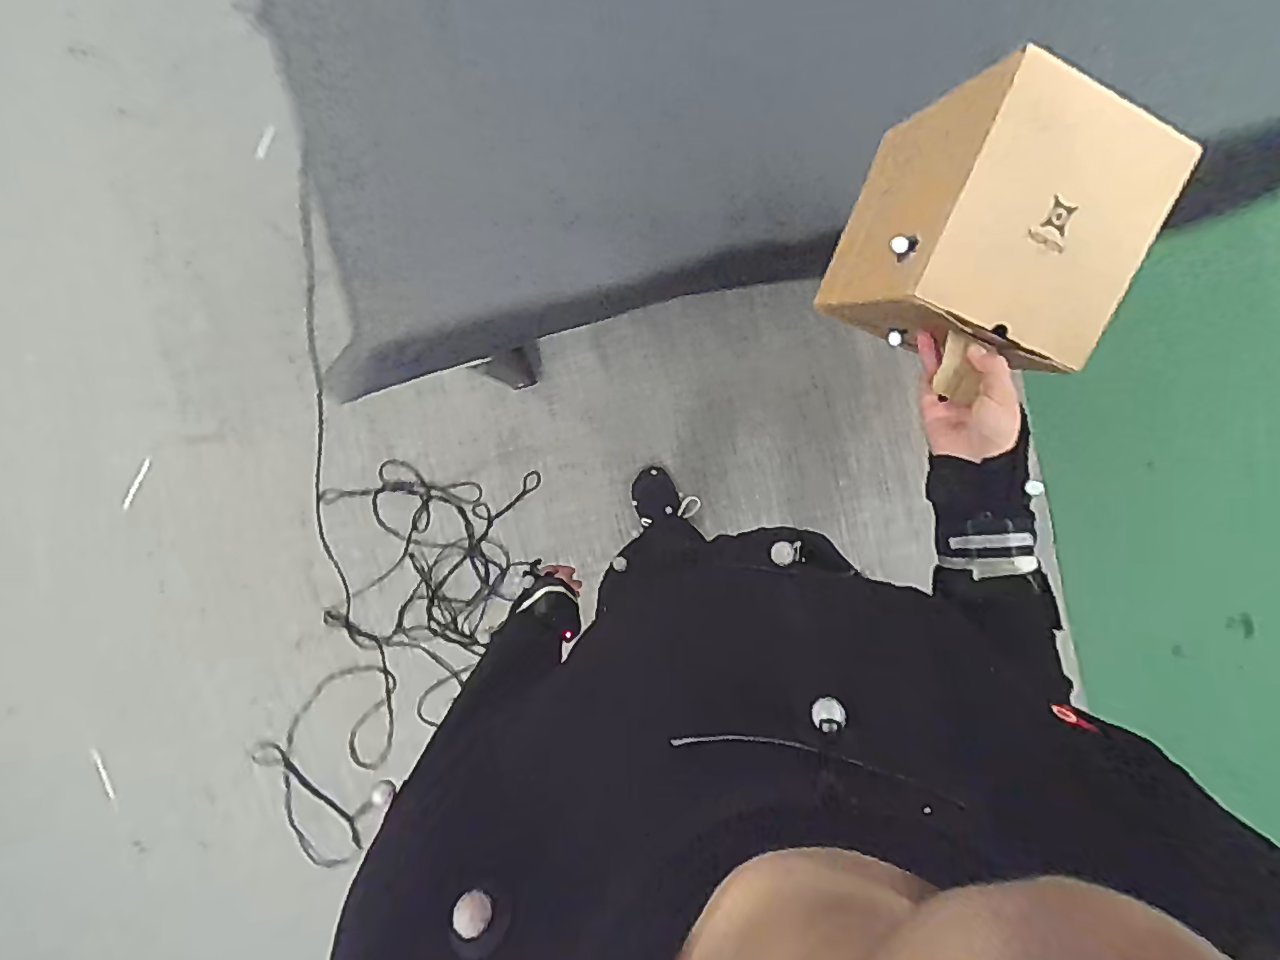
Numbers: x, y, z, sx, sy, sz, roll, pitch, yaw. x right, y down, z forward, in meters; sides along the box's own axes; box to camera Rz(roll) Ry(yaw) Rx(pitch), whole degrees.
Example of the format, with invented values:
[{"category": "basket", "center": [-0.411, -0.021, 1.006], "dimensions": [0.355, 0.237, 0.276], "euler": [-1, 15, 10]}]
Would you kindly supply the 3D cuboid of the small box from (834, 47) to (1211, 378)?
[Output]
[{"category": "small box", "center": [0.300, -0.206, 0.468], "dimensions": [0.168, 0.176, 0.179], "euler": [19, 103, -13]}]
